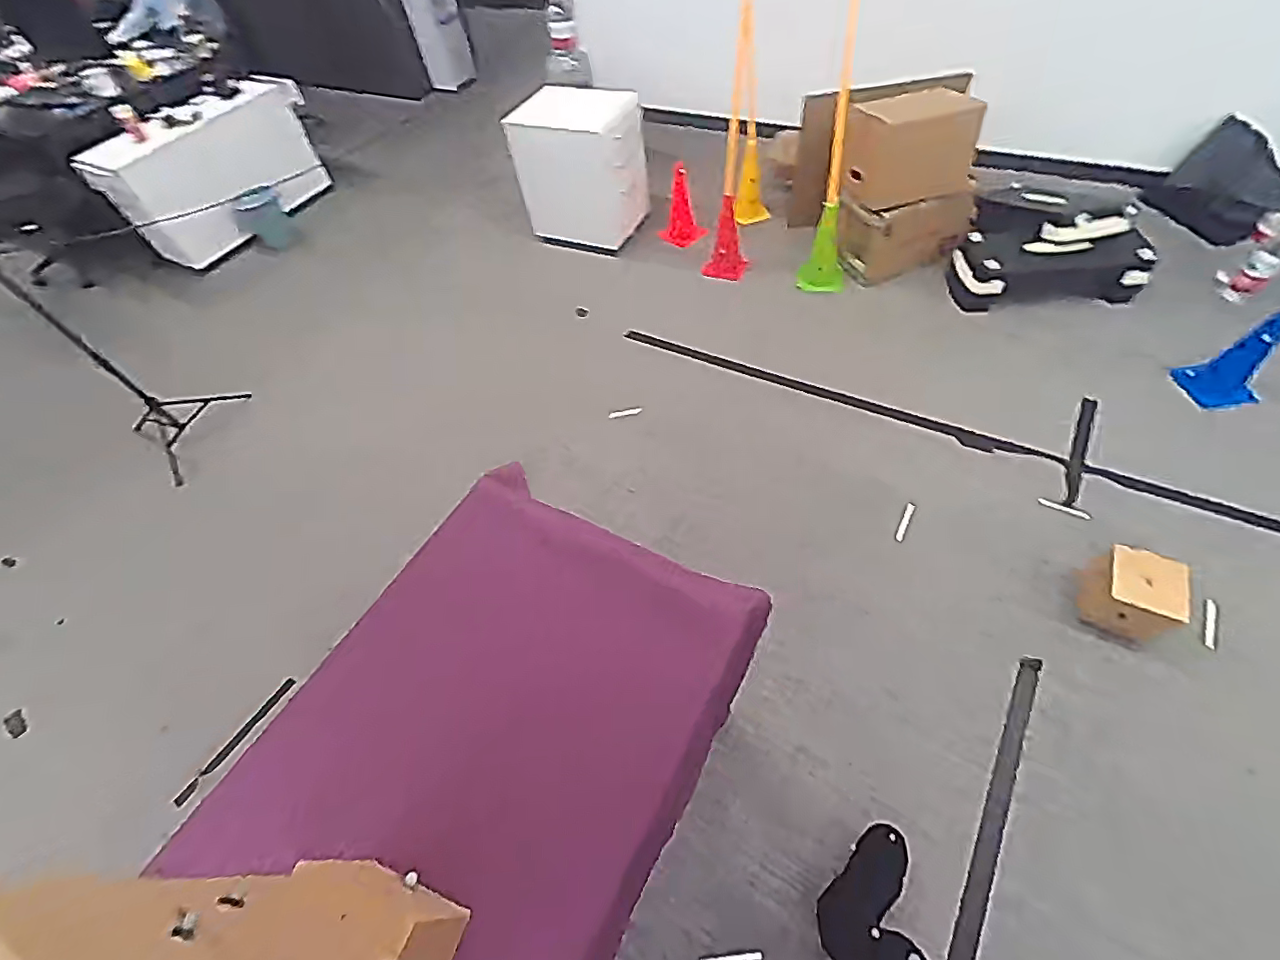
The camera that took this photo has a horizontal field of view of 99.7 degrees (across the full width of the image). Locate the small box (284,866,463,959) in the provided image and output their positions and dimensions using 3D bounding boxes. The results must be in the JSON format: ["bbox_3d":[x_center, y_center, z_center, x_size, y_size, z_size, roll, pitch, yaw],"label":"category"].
[{"bbox_3d":[-0.331,0.569,0.612,0.168,0.176,0.179,13,57,16],"label":"small box"}]

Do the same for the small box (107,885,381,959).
[{"bbox_3d":[-0.366,0.489,0.471,0.179,0.176,0.168,17,60,19],"label":"small box"}]

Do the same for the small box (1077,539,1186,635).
[{"bbox_3d":[1.329,0.296,1.470,0.168,0.176,0.179,19,60,20],"label":"small box"}]
